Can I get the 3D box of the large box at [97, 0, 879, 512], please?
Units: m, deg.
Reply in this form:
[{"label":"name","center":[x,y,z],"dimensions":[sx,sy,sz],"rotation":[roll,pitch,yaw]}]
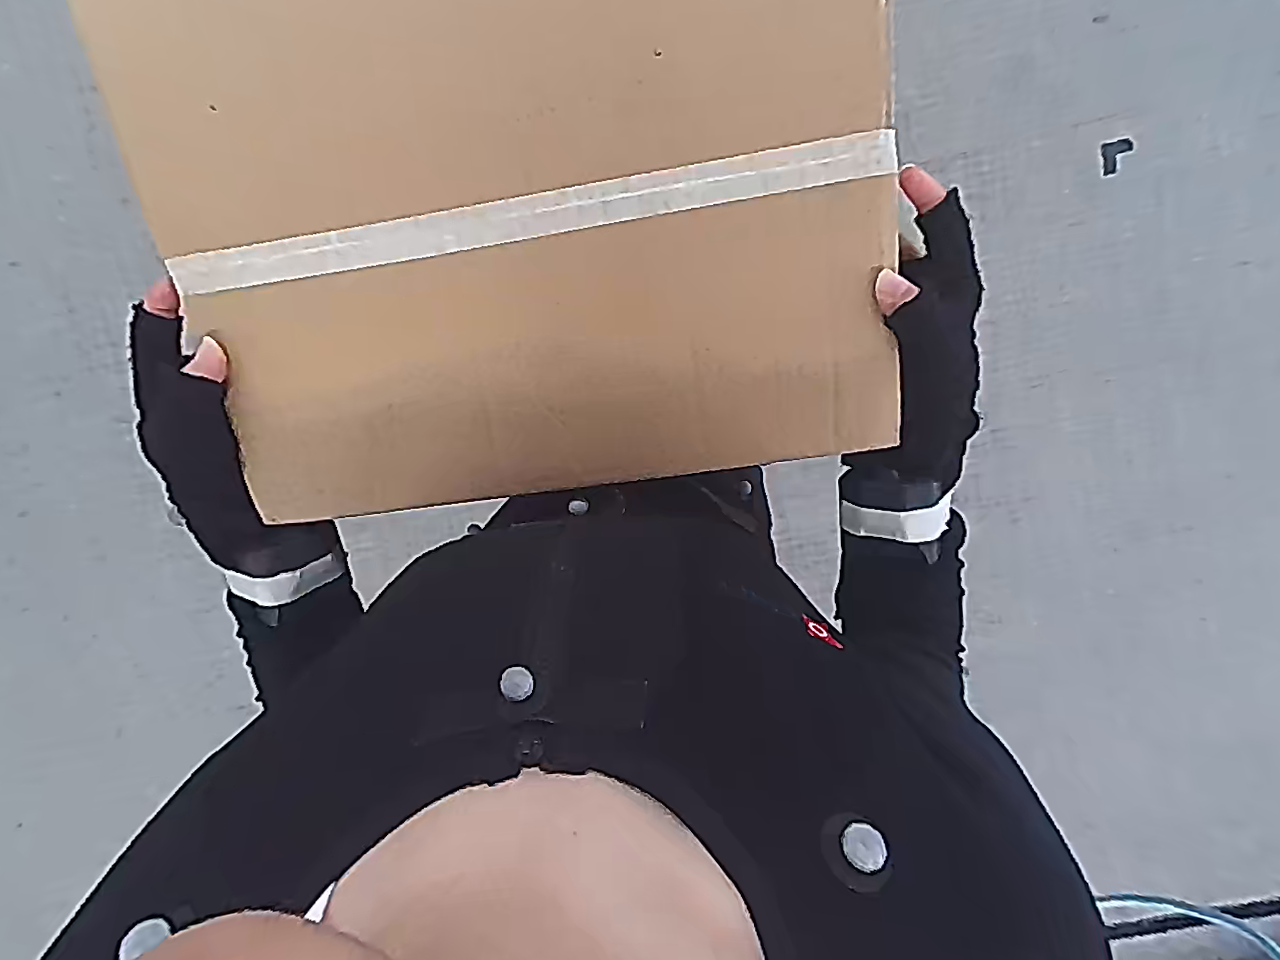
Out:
[{"label":"large box","center":[-0.062,-0.192,0.449],"dimensions":[0.408,0.320,0.320],"rotation":[-7,106,5]}]
